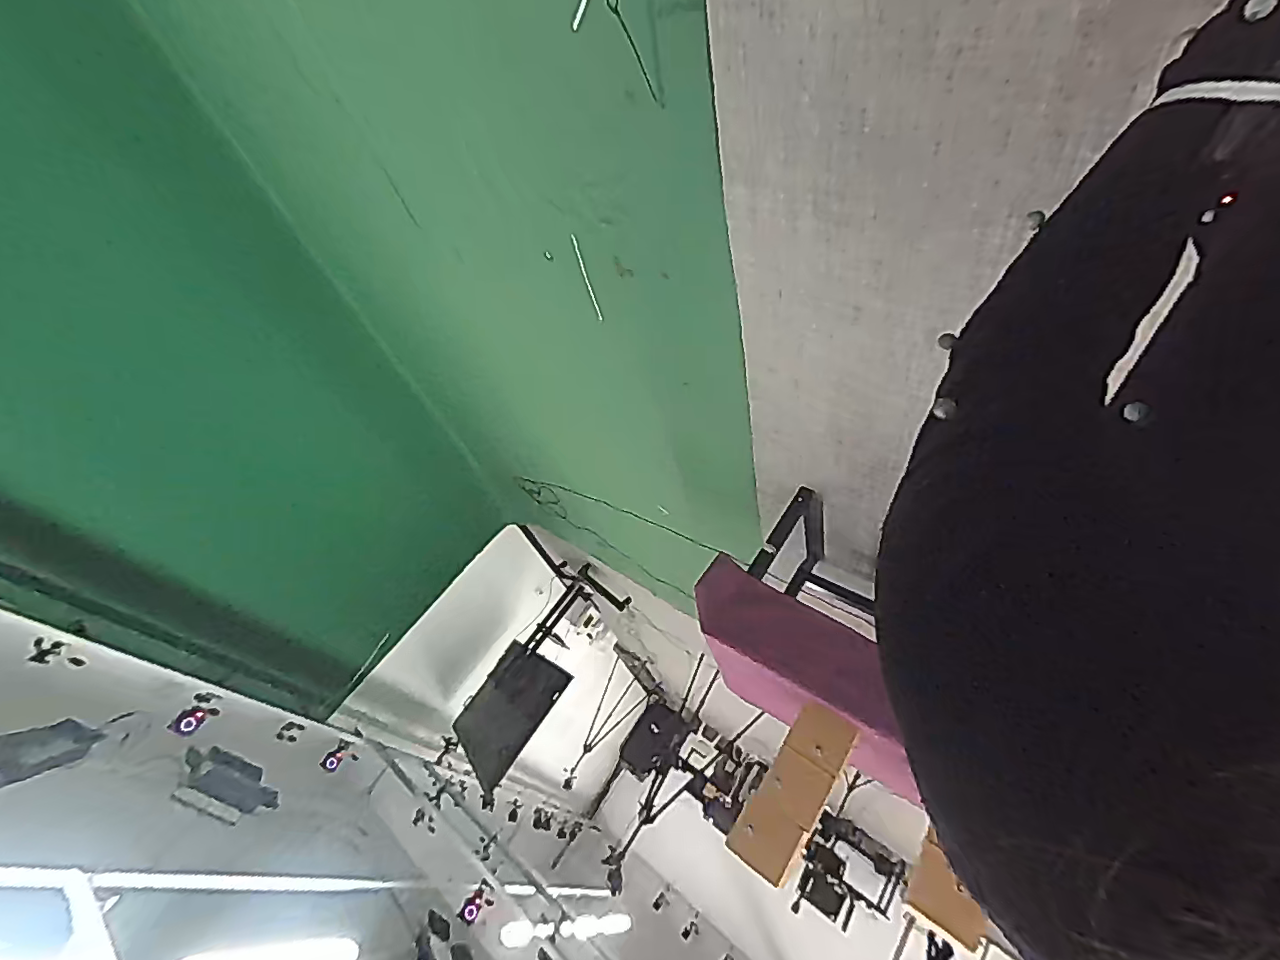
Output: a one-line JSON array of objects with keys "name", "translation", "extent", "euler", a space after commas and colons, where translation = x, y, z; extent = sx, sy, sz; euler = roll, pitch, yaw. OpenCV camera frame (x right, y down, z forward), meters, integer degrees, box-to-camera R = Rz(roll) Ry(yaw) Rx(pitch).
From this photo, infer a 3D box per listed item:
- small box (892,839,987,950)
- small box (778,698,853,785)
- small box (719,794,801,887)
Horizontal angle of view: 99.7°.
[{"name": "small box", "translation": [0.795, 1.099, 1.440], "extent": [0.168, 0.176, 0.179], "euler": [24, 152, 34]}, {"name": "small box", "translation": [0.559, 0.829, 1.723], "extent": [0.179, 0.176, 0.168], "euler": [25, 153, 32]}, {"name": "small box", "translation": [0.362, 1.069, 1.617], "extent": [0.179, 0.176, 0.168], "euler": [24, 153, 33]}]
